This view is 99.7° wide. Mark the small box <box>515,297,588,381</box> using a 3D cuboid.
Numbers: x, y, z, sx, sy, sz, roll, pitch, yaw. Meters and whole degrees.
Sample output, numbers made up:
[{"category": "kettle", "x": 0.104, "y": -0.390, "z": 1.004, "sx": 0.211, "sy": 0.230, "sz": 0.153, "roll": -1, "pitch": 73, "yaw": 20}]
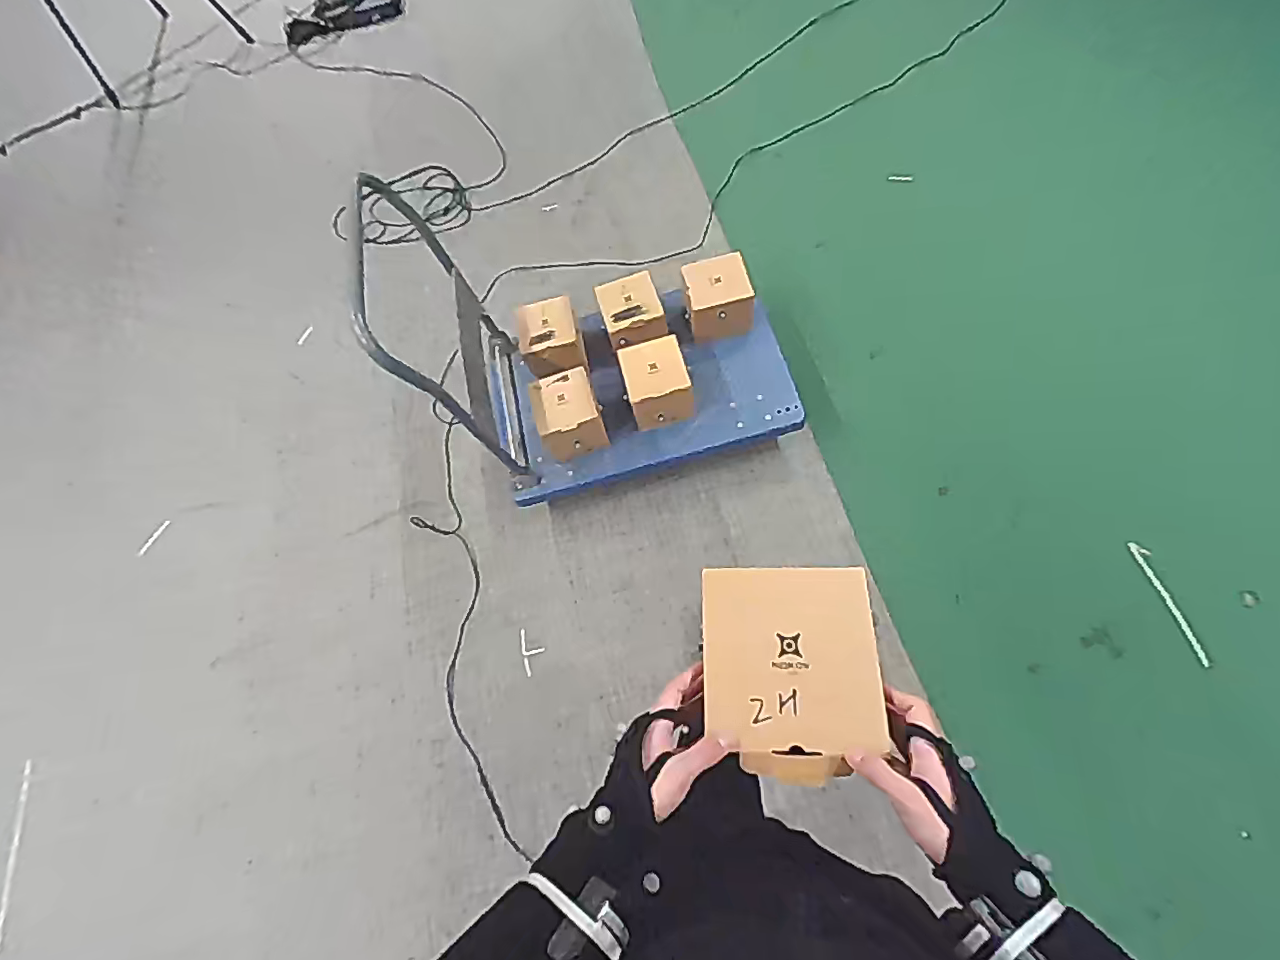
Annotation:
[{"category": "small box", "x": -0.258, "y": -0.407, "z": 1.610, "sx": 0.168, "sy": 0.176, "sz": 0.179, "roll": -13, "pitch": 65, "yaw": 3}]

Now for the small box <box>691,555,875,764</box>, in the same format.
[{"category": "small box", "x": 0.151, "y": 0.197, "z": 0.592, "sx": 0.168, "sy": 0.176, "sz": 0.179, "roll": 4, "pitch": 66, "yaw": 12}]

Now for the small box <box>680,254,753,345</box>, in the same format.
[{"category": "small box", "x": 0.224, "y": -0.522, "z": 1.586, "sx": 0.179, "sy": 0.176, "sz": 0.168, "roll": -13, "pitch": 67, "yaw": 4}]

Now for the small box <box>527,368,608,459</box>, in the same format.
[{"category": "small box", "x": -0.197, "y": -0.175, "z": 1.502, "sx": 0.168, "sy": 0.176, "sz": 0.179, "roll": -18, "pitch": 66, "yaw": 1}]
